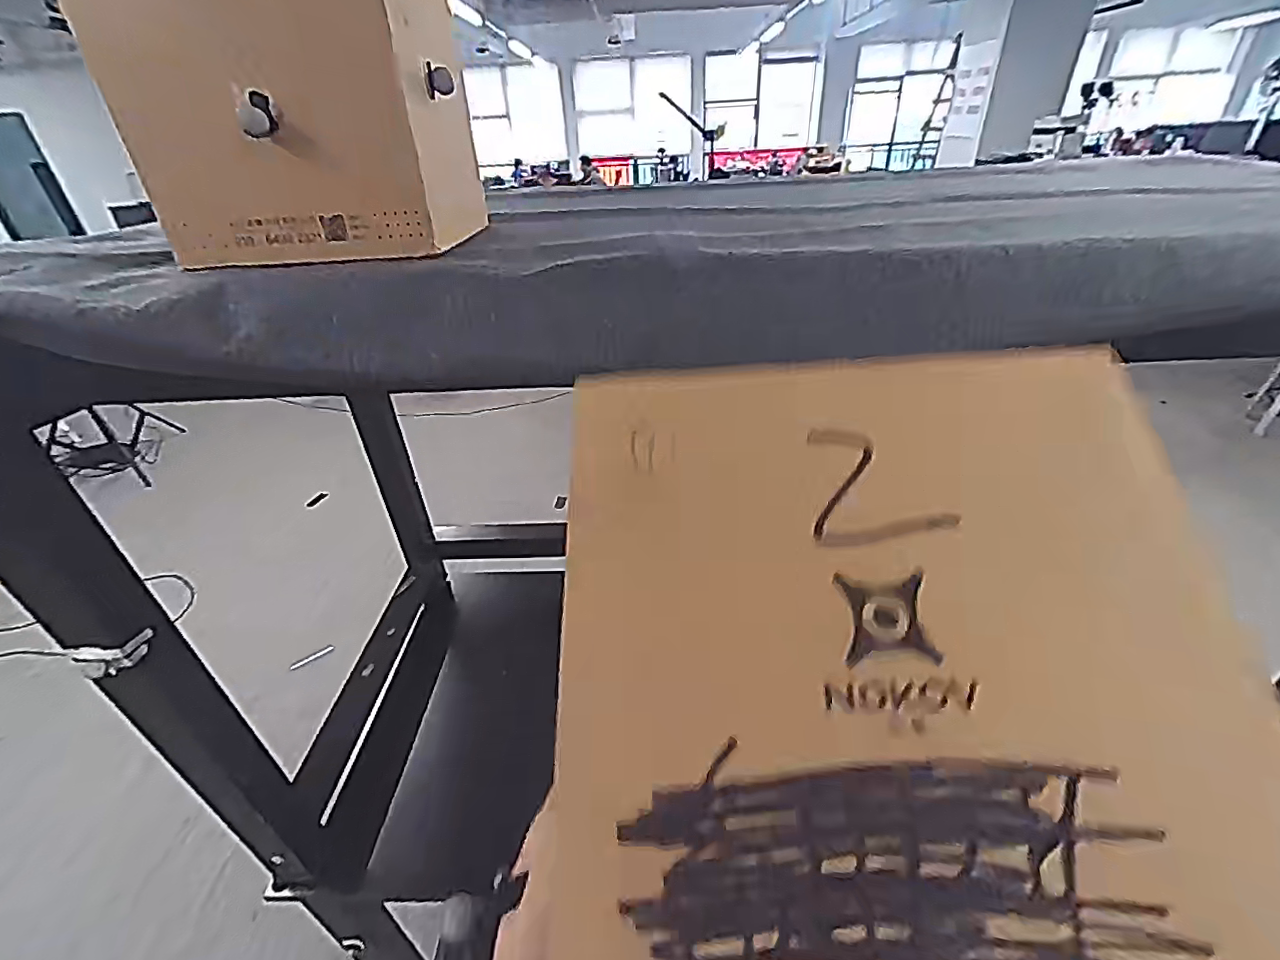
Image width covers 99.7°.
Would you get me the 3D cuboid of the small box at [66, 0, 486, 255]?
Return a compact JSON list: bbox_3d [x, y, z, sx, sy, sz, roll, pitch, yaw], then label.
[{"bbox_3d":[-0.213,-0.254,0.371,0.168,0.176,0.179,-3,32,-2],"label":"small box"}]
